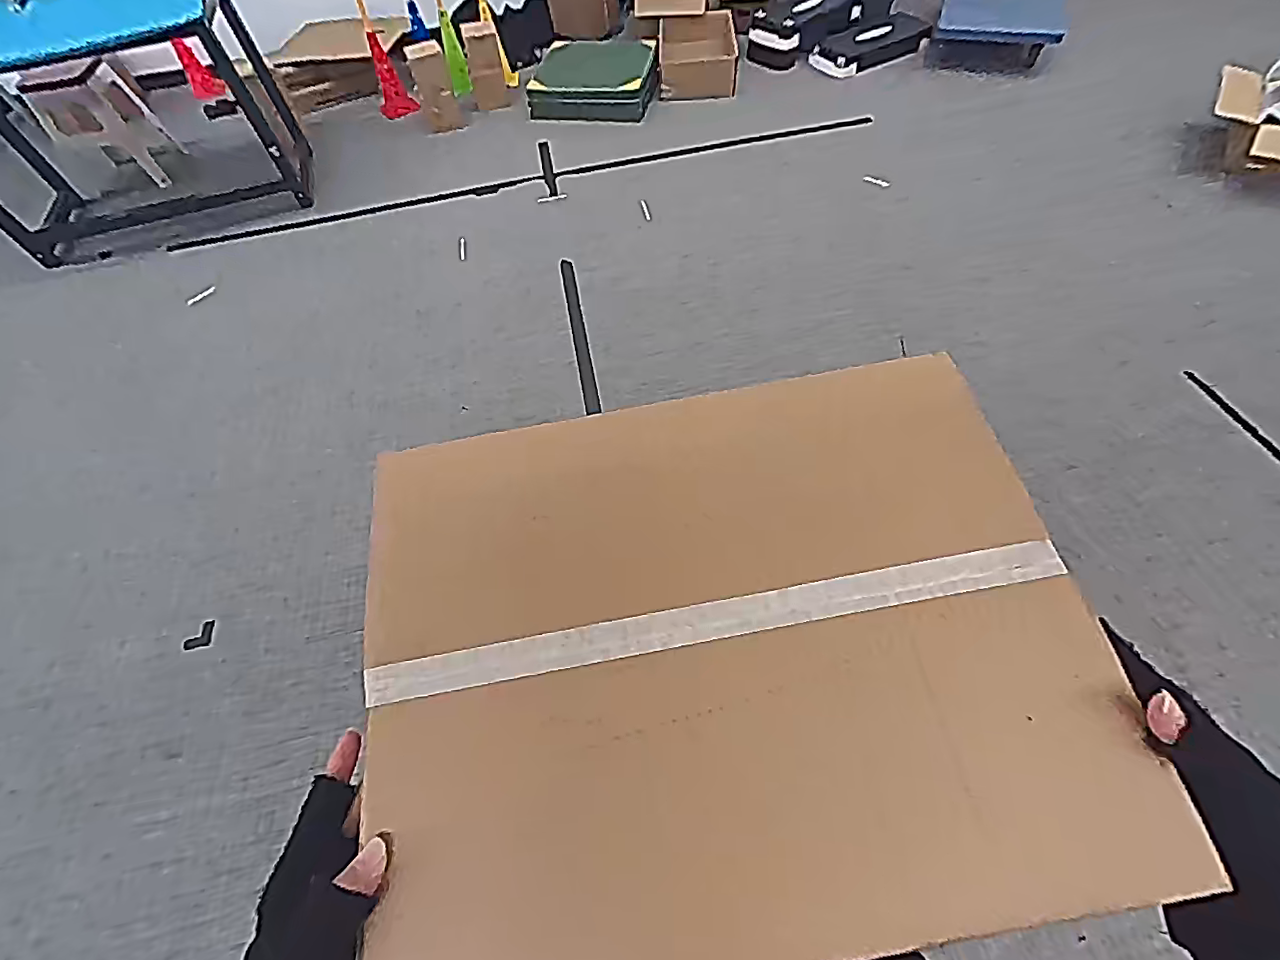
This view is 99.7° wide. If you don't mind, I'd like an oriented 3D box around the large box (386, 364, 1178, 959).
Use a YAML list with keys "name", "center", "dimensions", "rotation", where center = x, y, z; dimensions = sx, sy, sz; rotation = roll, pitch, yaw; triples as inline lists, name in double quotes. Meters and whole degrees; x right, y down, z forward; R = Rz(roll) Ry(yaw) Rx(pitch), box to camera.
- name: "large box"
  center: [0.055, 0.153, 0.460]
  dimensions: [0.408, 0.320, 0.320]
  rotation: [-11, 65, 0]
